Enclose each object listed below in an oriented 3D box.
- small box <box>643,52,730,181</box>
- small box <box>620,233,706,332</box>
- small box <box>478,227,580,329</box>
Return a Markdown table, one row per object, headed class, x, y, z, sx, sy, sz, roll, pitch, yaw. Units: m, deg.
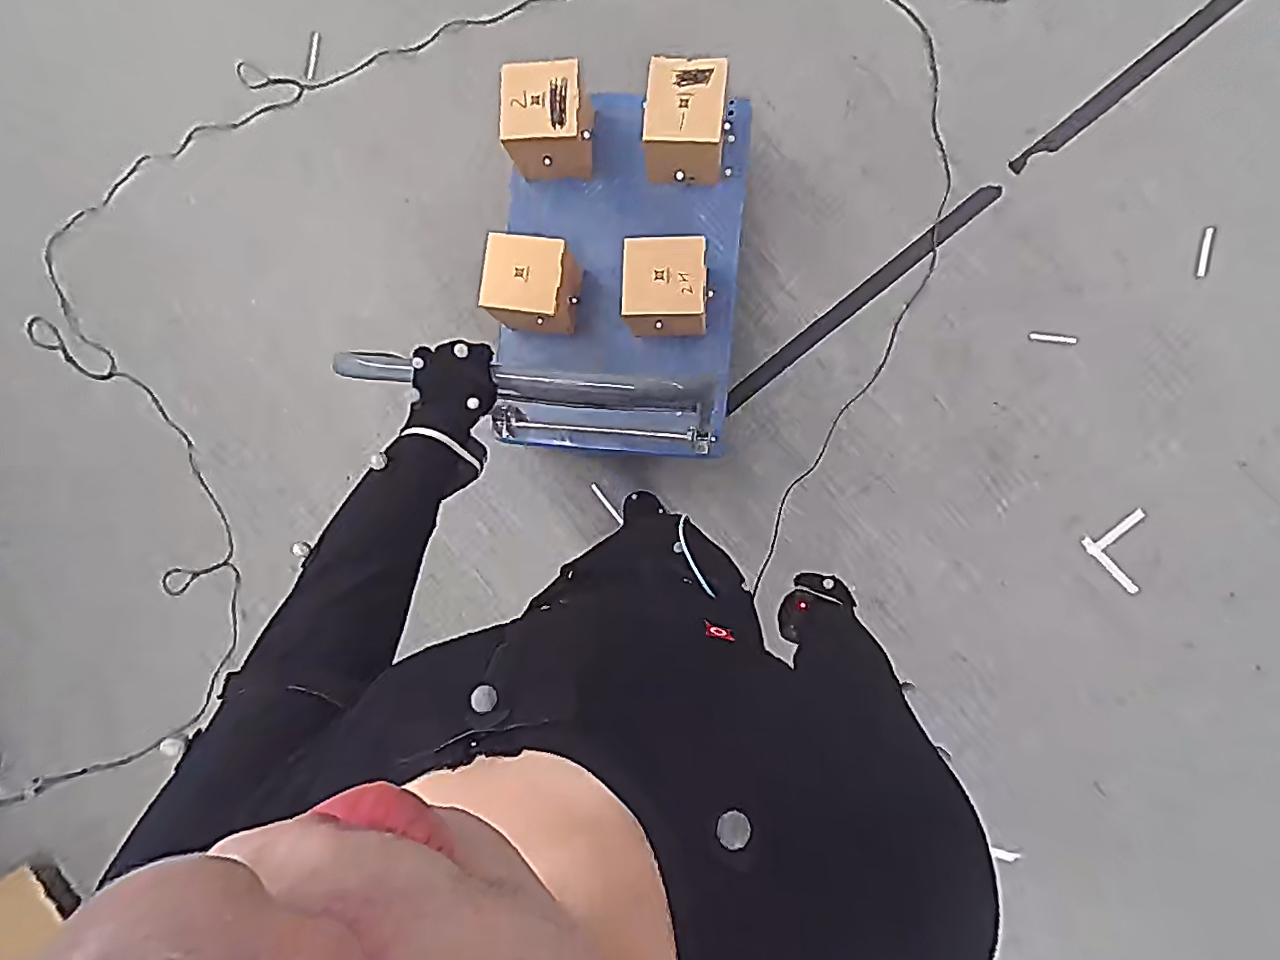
| class | x | y | z | sx | sy | sz | roll | pitch | yaw |
| --- | --- | --- | --- | --- | --- | --- | --- | --- | --- |
| small box | 0.104 | -0.803 | 1.205 | 0.168 | 0.176 | 0.179 | 7 | 92 | 7 |
| small box | 0.057 | -0.436 | 1.212 | 0.179 | 0.176 | 0.168 | 2 | 91 | 7 |
| small box | -0.250 | -0.459 | 1.250 | 0.179 | 0.176 | 0.168 | 8 | 91 | 5 |
